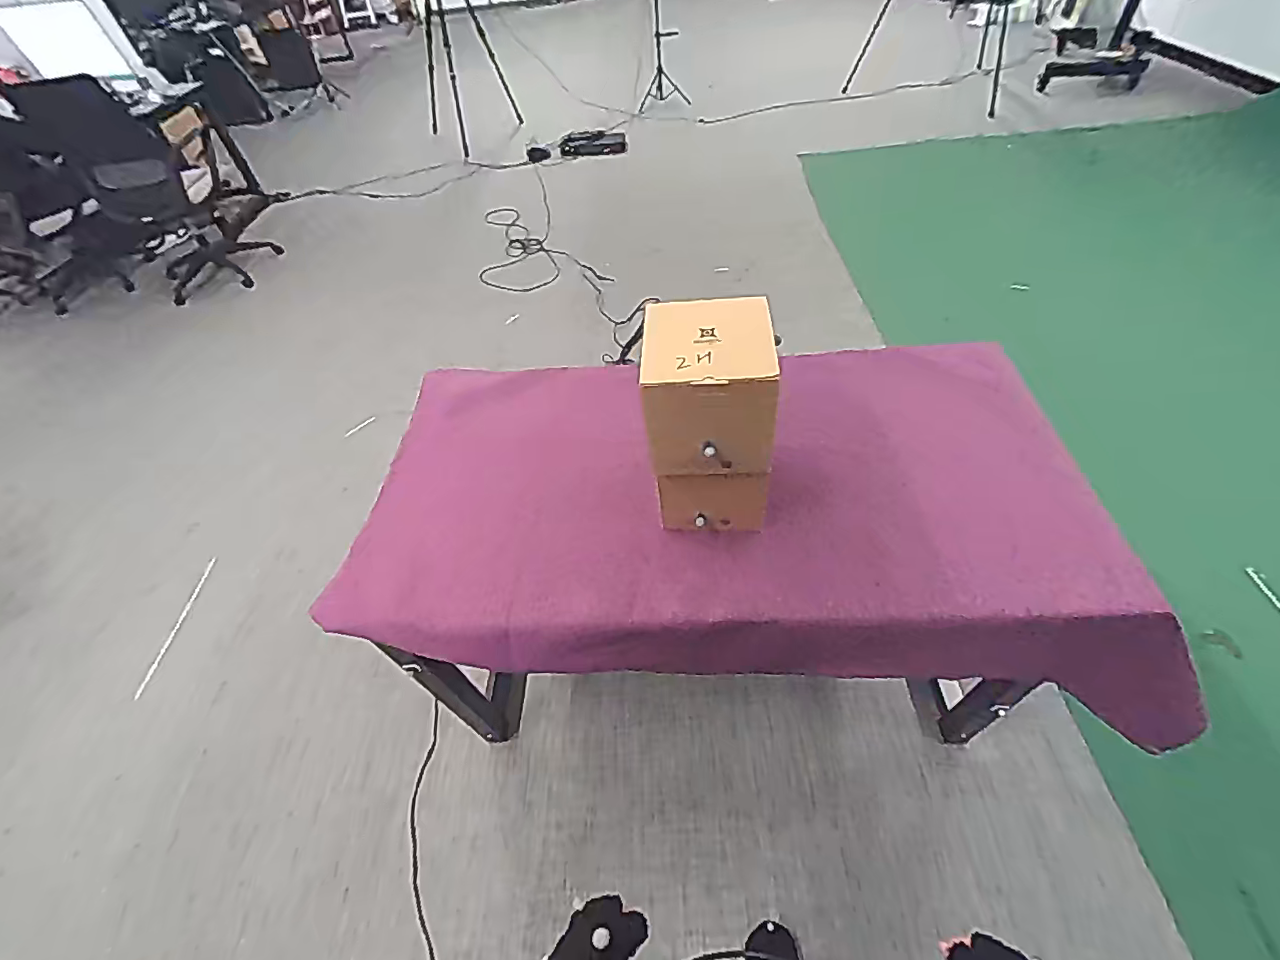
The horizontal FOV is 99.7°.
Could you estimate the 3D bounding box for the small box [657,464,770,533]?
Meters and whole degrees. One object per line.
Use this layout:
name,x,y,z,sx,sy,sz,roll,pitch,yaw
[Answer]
small box,0.119,-0.033,0.884,0.168,0.176,0.179,0,50,8

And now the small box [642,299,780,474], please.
small box,0.097,-0.127,0.751,0.168,0.176,0.179,-2,50,8
